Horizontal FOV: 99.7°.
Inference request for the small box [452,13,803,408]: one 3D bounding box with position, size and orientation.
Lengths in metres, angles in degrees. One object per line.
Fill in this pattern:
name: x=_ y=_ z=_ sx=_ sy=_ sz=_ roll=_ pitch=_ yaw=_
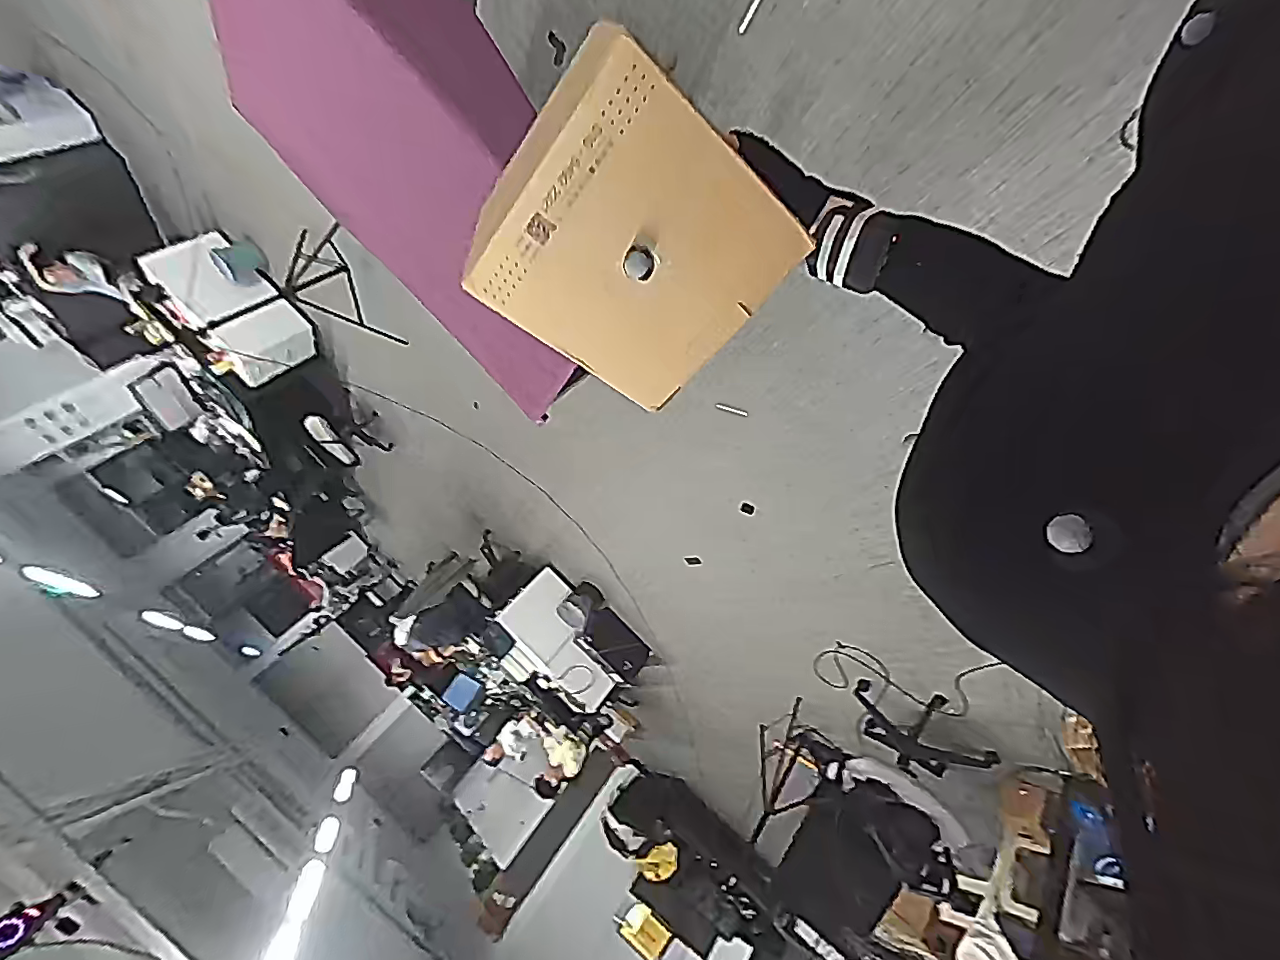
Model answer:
small box: x=-0.020 y=-0.192 z=0.394 sx=0.176 sy=0.179 sz=0.168 roll=30 pitch=122 yaw=-30
